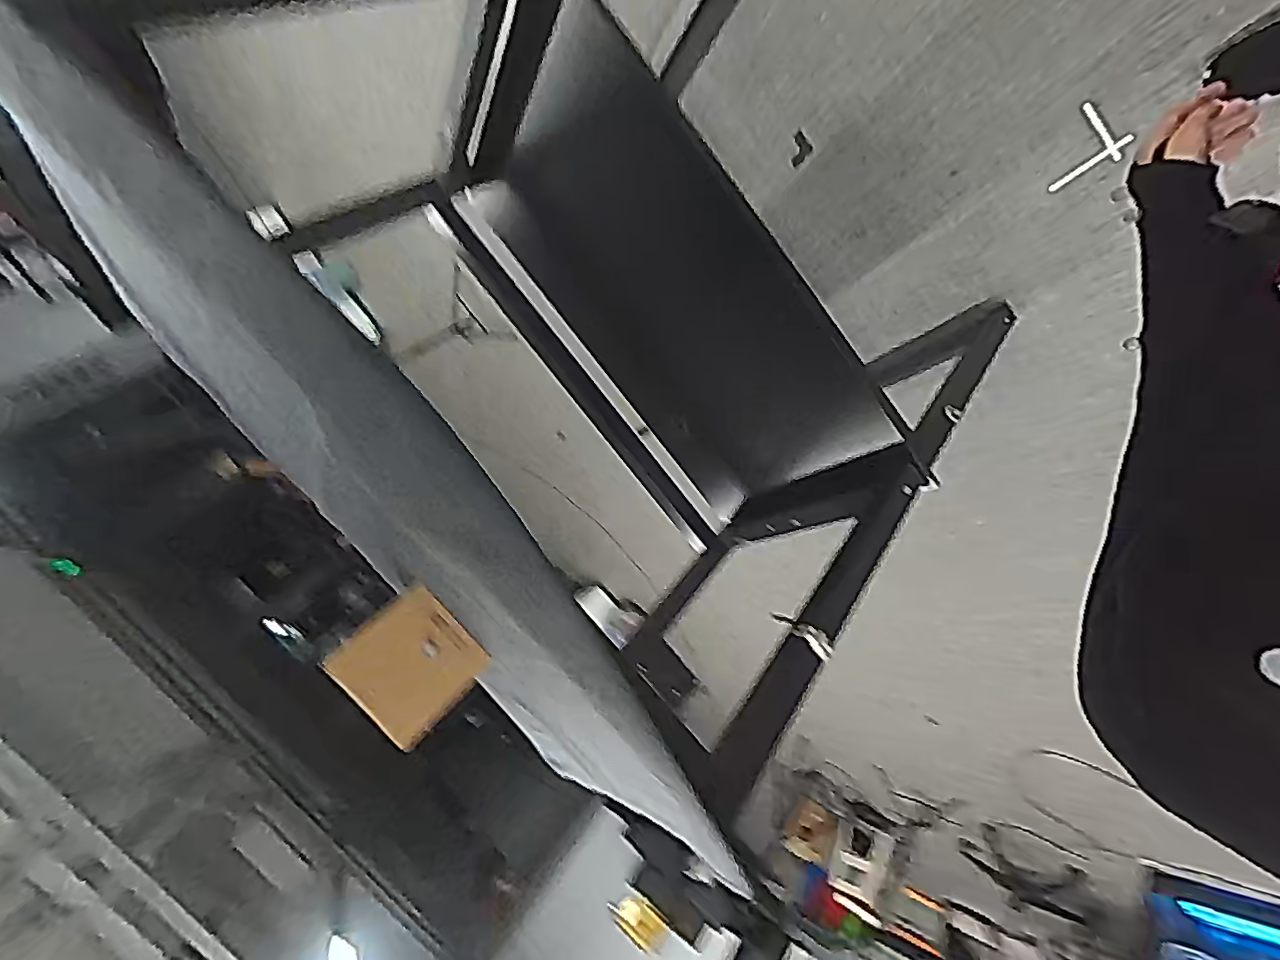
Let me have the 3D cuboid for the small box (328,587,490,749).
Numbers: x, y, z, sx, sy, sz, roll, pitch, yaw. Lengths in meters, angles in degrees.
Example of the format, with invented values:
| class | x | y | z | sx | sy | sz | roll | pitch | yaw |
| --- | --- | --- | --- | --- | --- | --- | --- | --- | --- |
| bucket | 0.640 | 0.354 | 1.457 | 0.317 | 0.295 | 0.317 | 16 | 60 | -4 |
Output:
| class | x | y | z | sx | sy | sz | roll | pitch | yaw |
| --- | --- | --- | --- | --- | --- | --- | --- | --- | --- |
| small box | -0.366 | 0.294 | 0.869 | 0.168 | 0.176 | 0.179 | 49 | 148 | -4 |
